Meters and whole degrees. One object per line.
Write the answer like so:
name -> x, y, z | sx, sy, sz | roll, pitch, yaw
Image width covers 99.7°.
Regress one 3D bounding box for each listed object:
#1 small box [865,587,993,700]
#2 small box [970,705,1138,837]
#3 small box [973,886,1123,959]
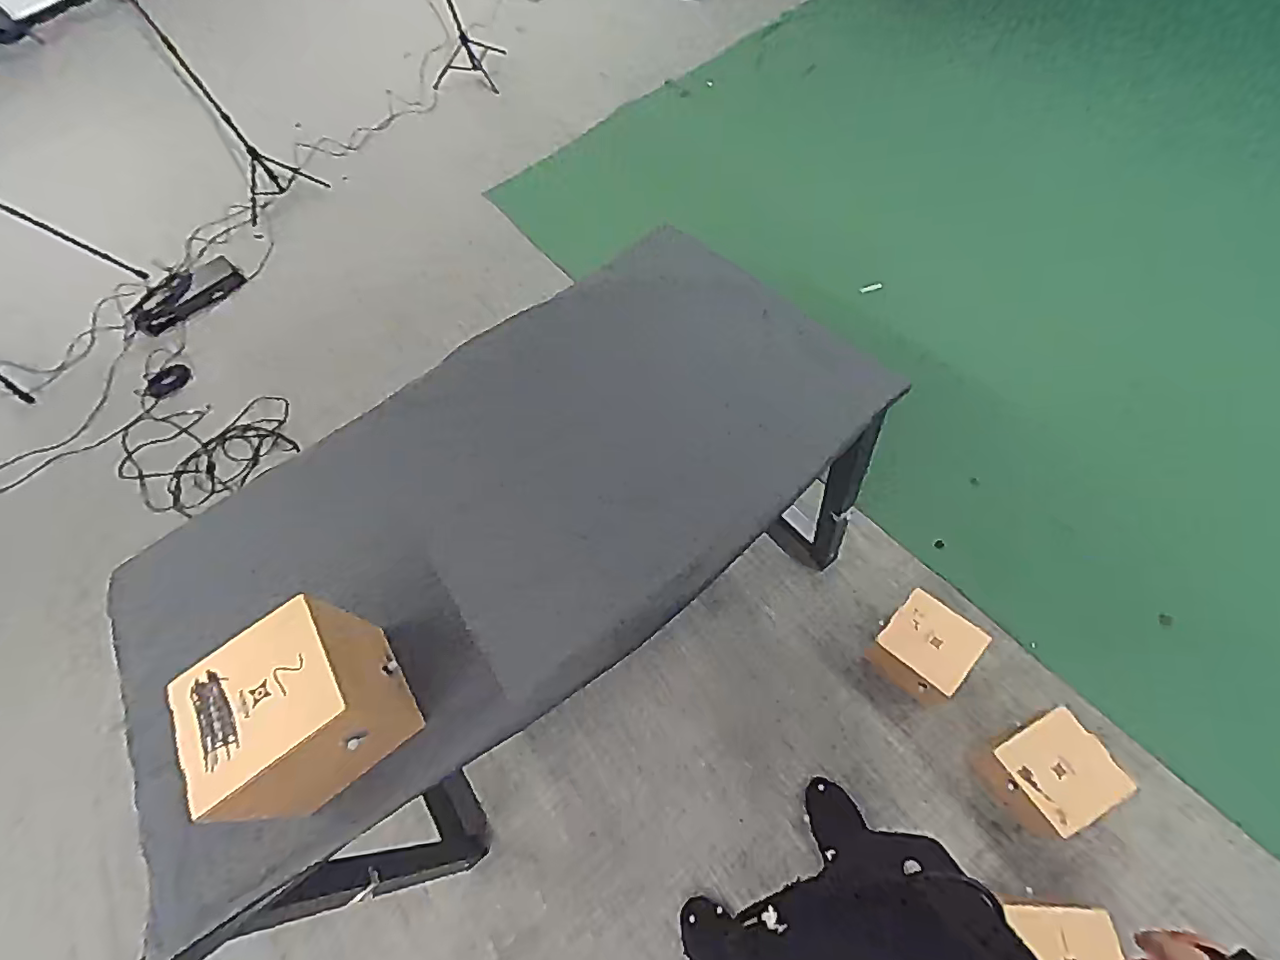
small box -> 0.646, 0.378, 1.230 | 0.168, 0.176, 0.179 | -44, 62, -14
small box -> 0.810, 0.577, 1.083 | 0.179, 0.176, 0.168 | -29, 60, -5
small box -> 0.722, 0.843, 0.953 | 0.168, 0.176, 0.179 | -4, 60, 10
